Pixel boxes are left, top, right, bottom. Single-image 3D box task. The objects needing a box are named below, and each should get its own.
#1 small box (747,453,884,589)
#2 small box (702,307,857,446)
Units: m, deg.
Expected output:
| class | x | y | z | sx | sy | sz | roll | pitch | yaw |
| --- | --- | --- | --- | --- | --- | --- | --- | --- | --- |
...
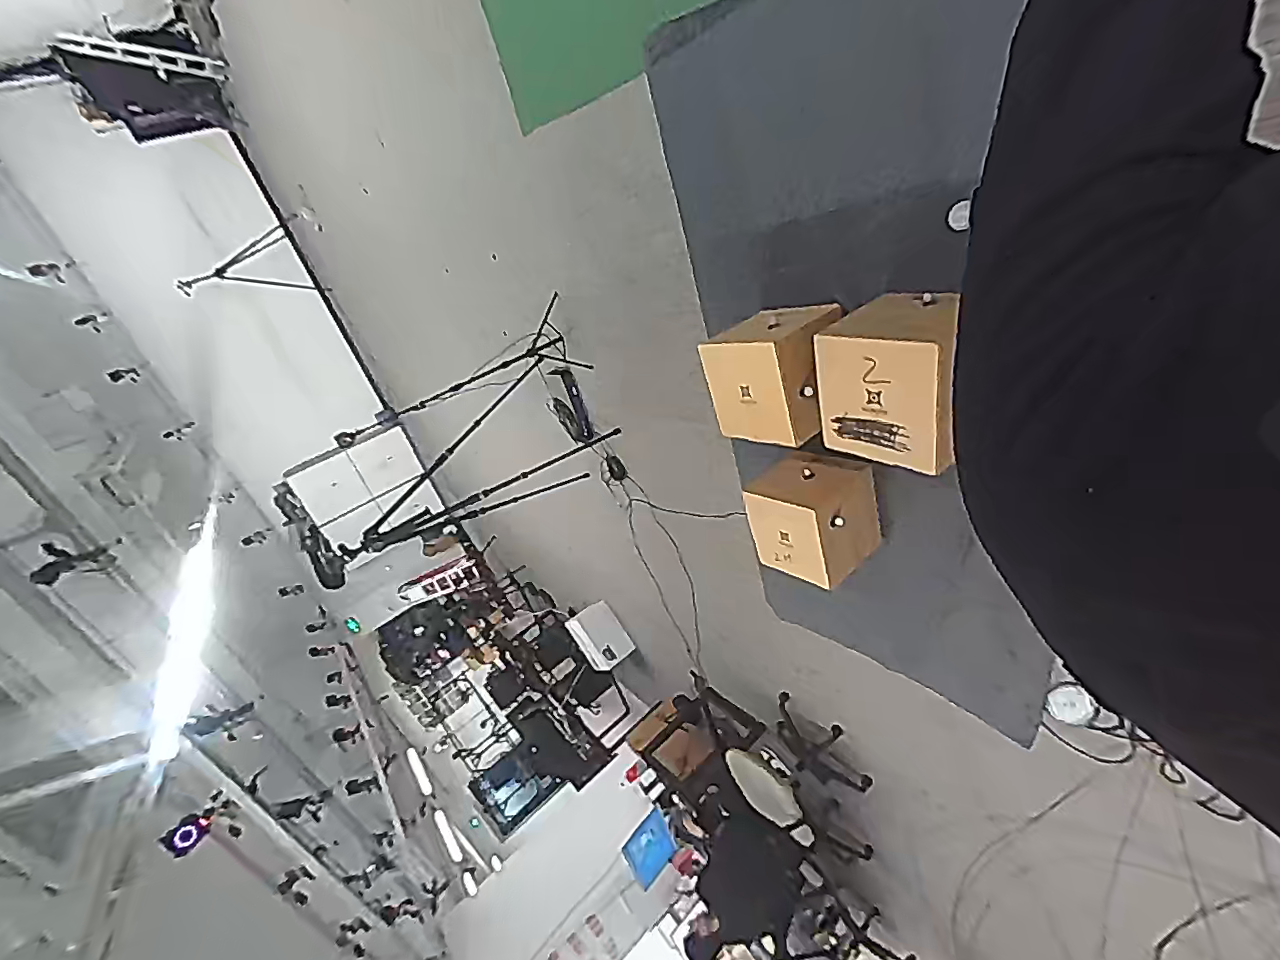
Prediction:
| class | x | y | z | sx | sy | sz | roll | pitch | yaw |
| --- | --- | --- | --- | --- | --- | --- | --- | --- | --- |
| small box | 0.333 | 0.066 | 1.018 | 0.168 | 0.176 | 0.179 | 18 | 134 | 53 |
| small box | 0.238 | -0.180 | 0.909 | 0.168 | 0.176 | 0.179 | 16 | 134 | 53 |
